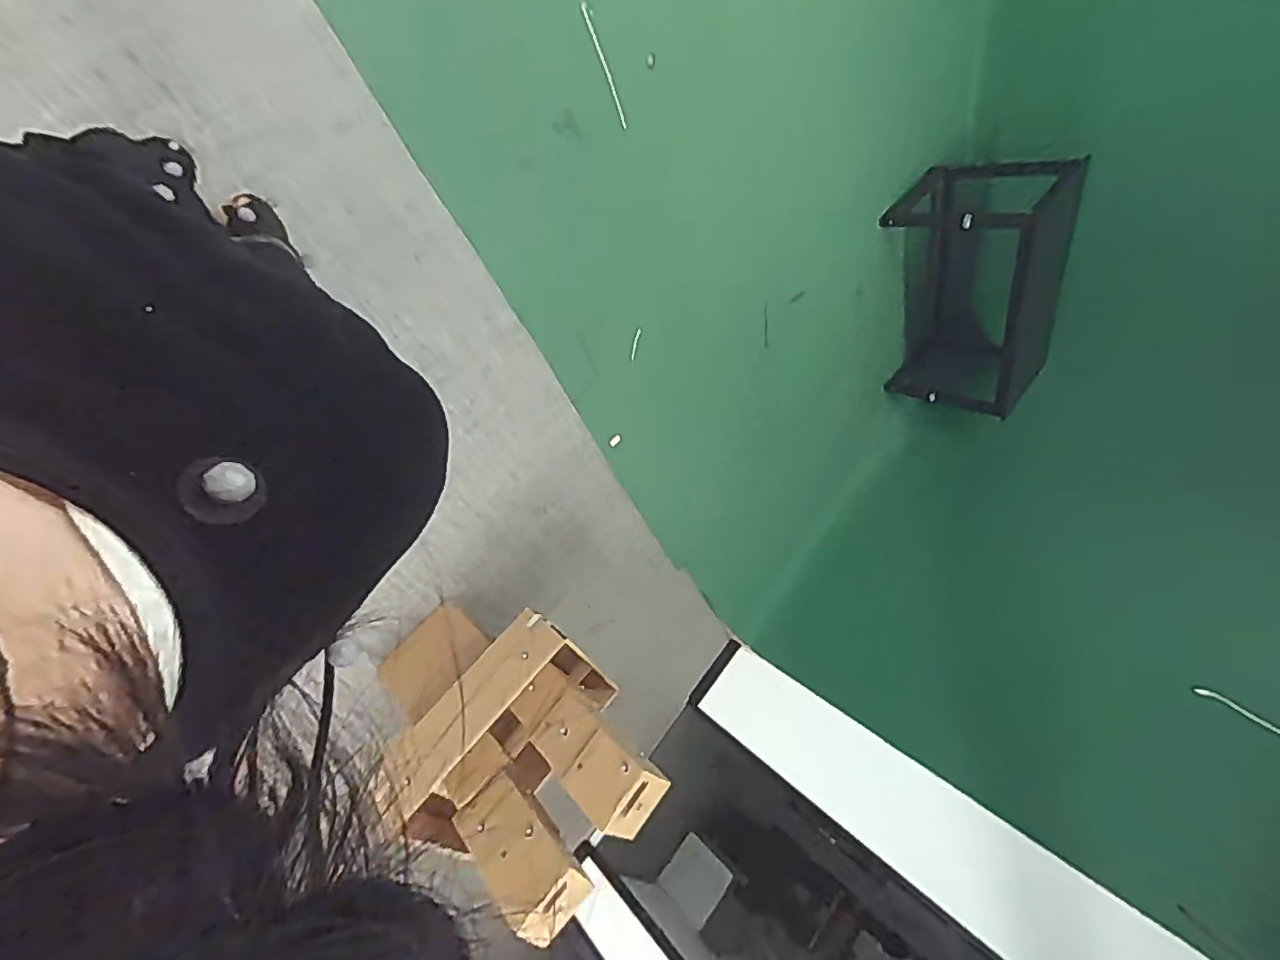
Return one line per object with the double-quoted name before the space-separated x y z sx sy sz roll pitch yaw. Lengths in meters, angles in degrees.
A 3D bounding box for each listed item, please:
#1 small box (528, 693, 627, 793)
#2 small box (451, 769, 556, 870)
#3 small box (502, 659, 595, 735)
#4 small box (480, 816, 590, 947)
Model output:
"small box" -0.175 0.718 1.490 0.168 0.176 0.179 -48 136 -15
"small box" -0.356 0.890 1.400 0.168 0.176 0.179 -42 134 -21
"small box" -0.273 0.664 1.611 0.168 0.176 0.179 -49 137 -16
"small box" -0.251 0.947 1.288 0.168 0.176 0.179 -39 134 -23
